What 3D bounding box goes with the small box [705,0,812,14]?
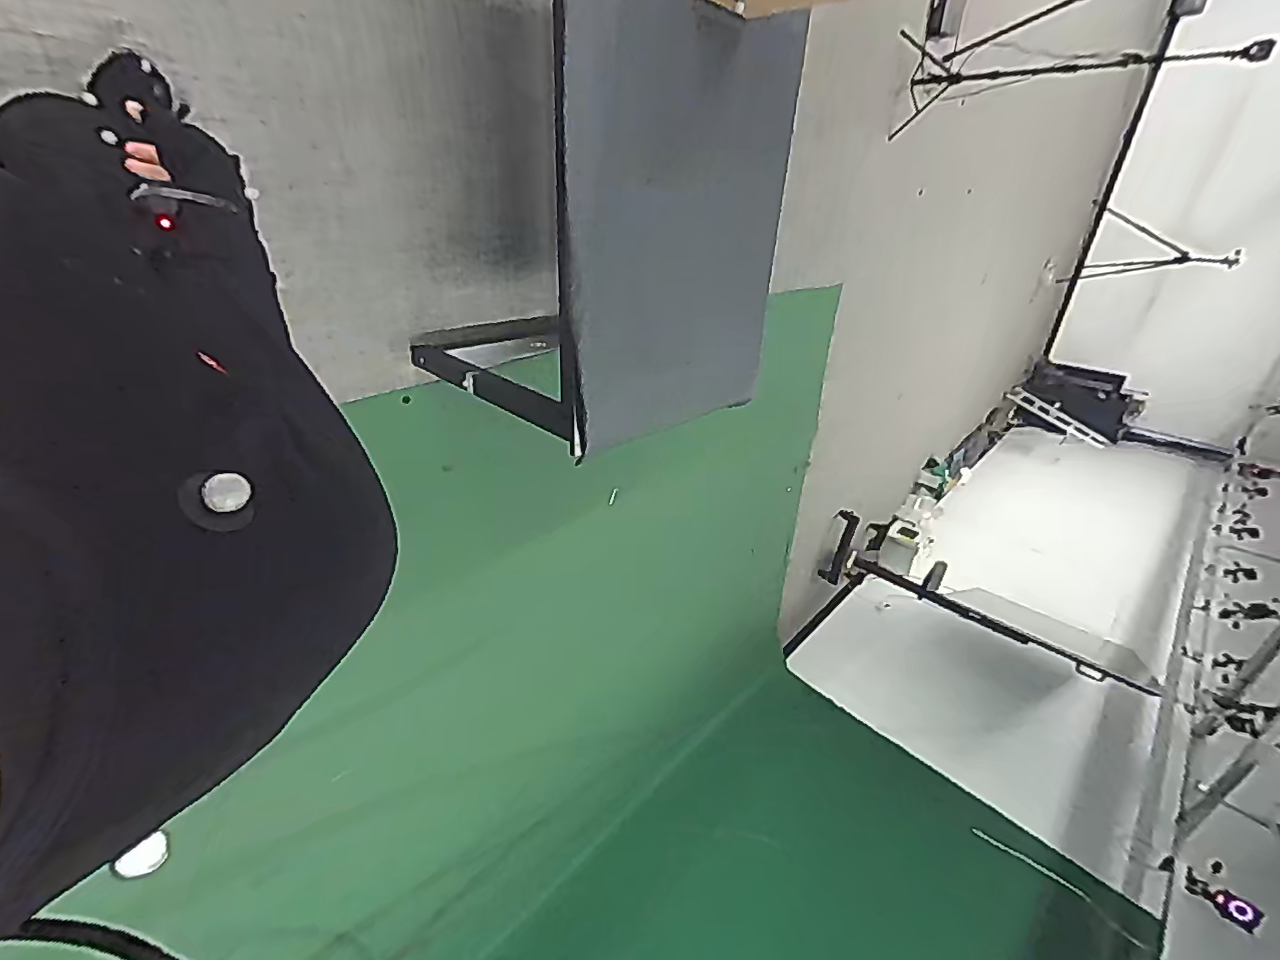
[{"bbox_3d":[0.178,-0.856,0.825,0.168,0.176,0.179,-21,127,-42],"label":"small box"}]
